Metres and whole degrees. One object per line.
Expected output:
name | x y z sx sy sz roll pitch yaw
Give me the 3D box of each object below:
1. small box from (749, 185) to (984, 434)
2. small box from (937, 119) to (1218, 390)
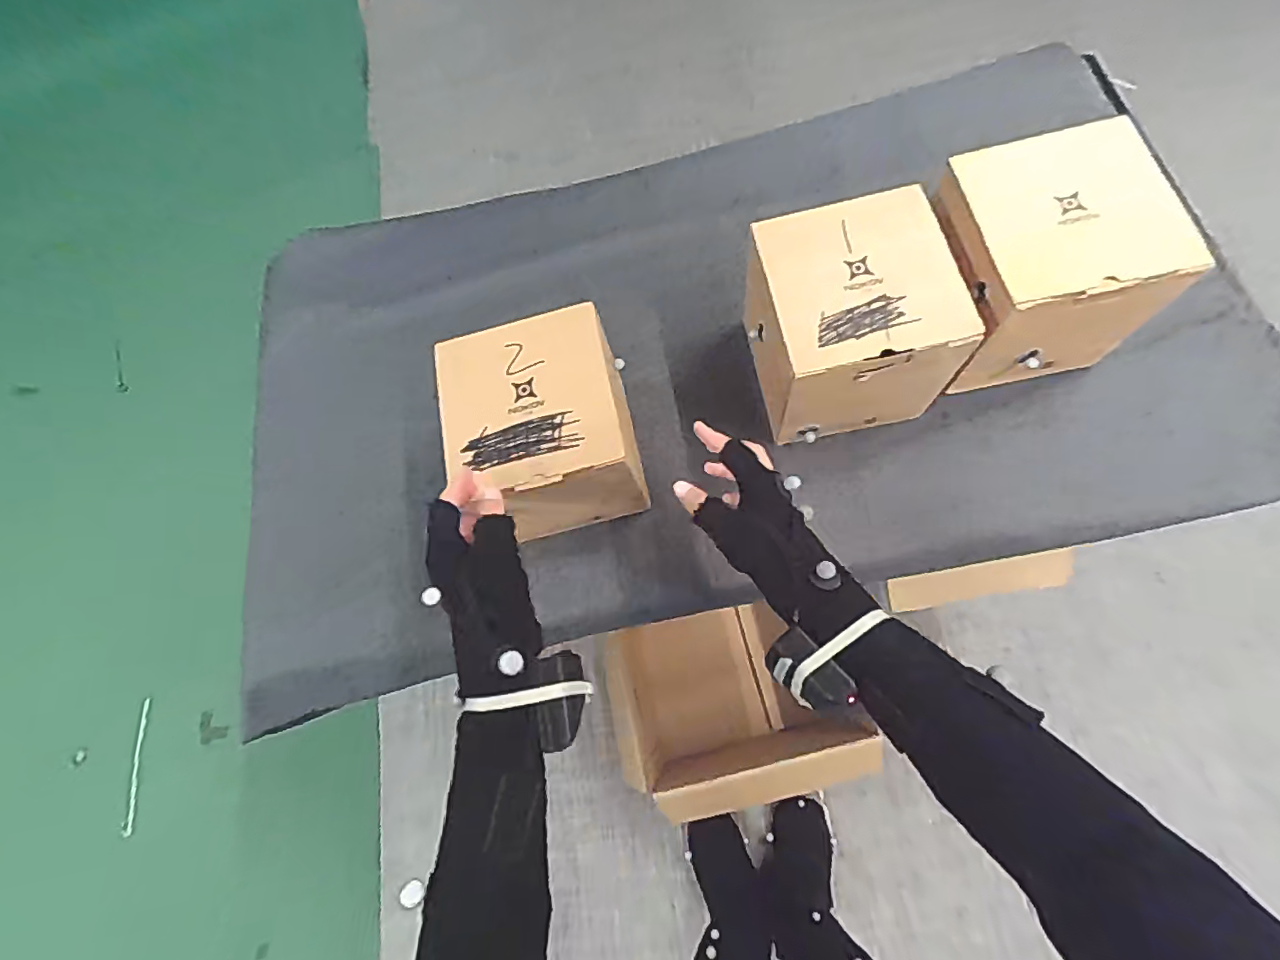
small box | 0.214 -0.161 0.568 0.168 0.176 0.179 -11 70 5
small box | 0.402 -0.218 0.559 0.168 0.176 0.179 -11 72 5
